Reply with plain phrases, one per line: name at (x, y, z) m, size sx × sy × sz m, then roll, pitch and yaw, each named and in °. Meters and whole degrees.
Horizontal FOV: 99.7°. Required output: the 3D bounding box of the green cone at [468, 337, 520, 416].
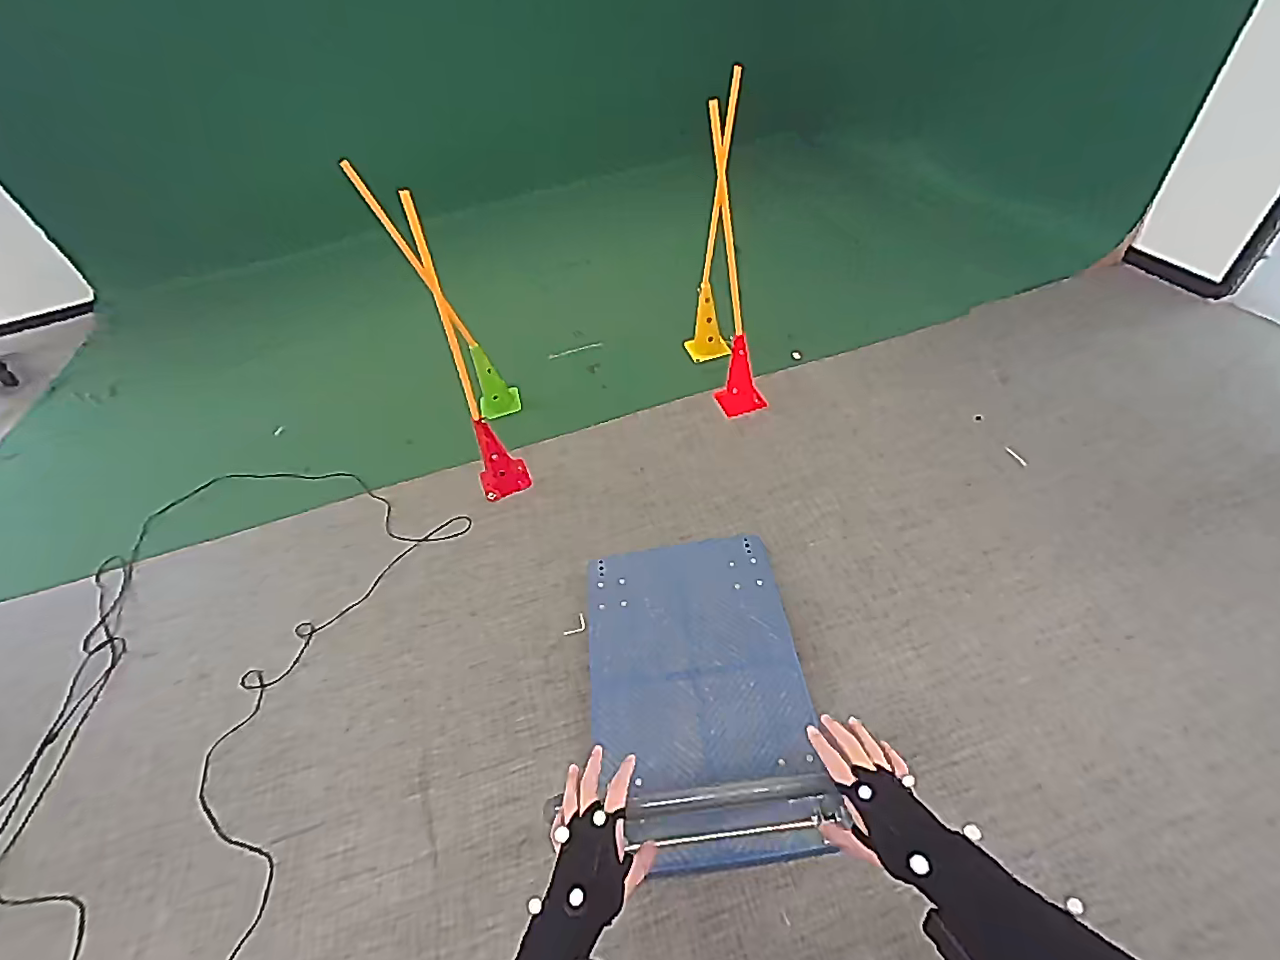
green cone at (-0.734, -0.518, 2.589) m, size 0.200 × 0.368 × 0.202 m, roll -17°, pitch 46°, yaw -5°

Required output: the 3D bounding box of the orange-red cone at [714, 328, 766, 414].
orange-red cone at (0.434, -0.498, 2.357) m, size 0.198 × 0.360 × 0.199 m, roll -16°, pitch 45°, yaw -6°
